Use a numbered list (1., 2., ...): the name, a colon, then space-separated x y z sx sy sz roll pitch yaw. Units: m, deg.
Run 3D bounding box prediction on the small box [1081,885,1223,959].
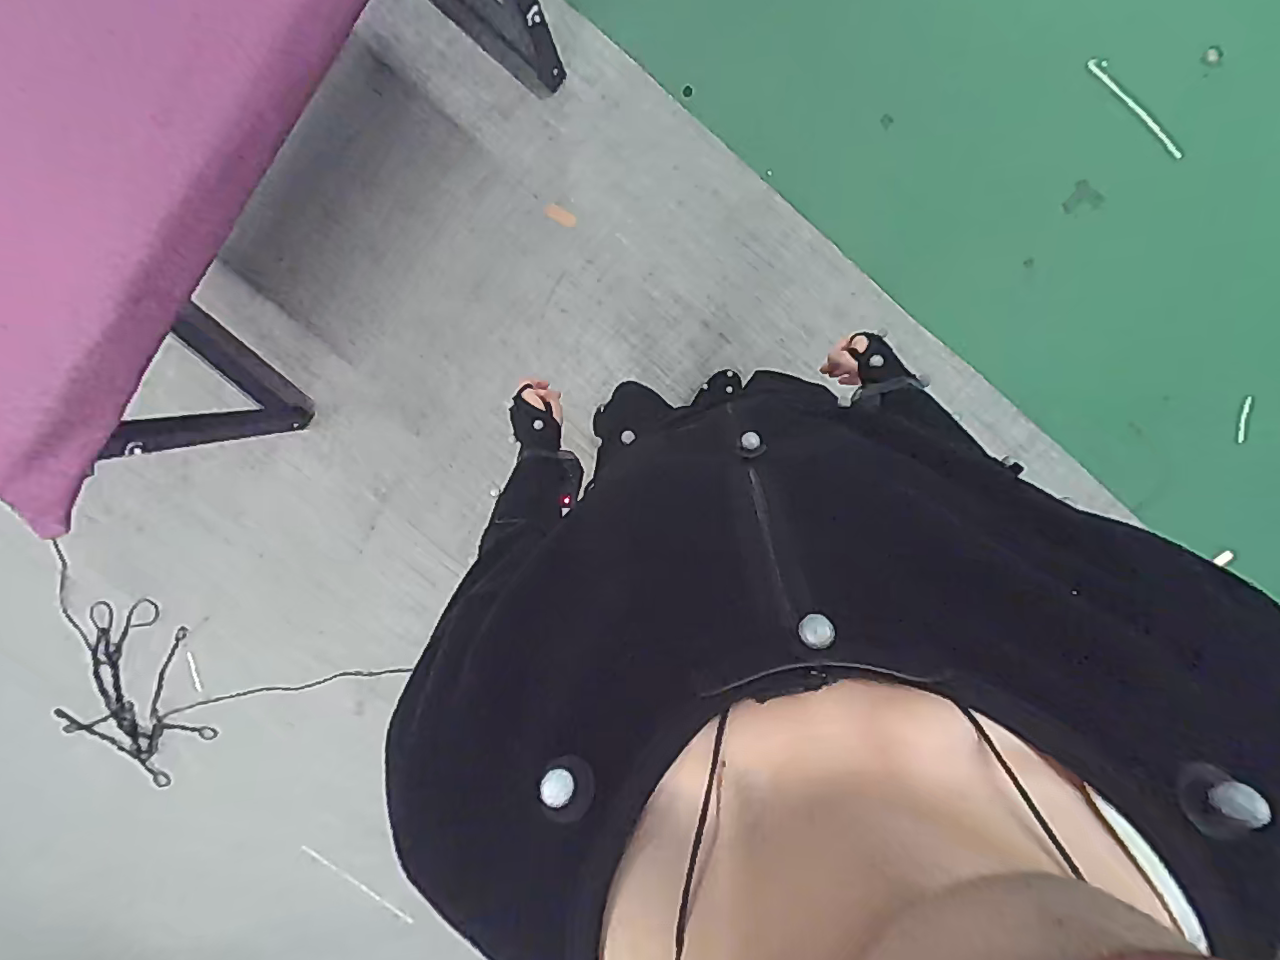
1. small box: 1.084 0.997 1.114 0.179 0.176 0.168 38 101 -3
